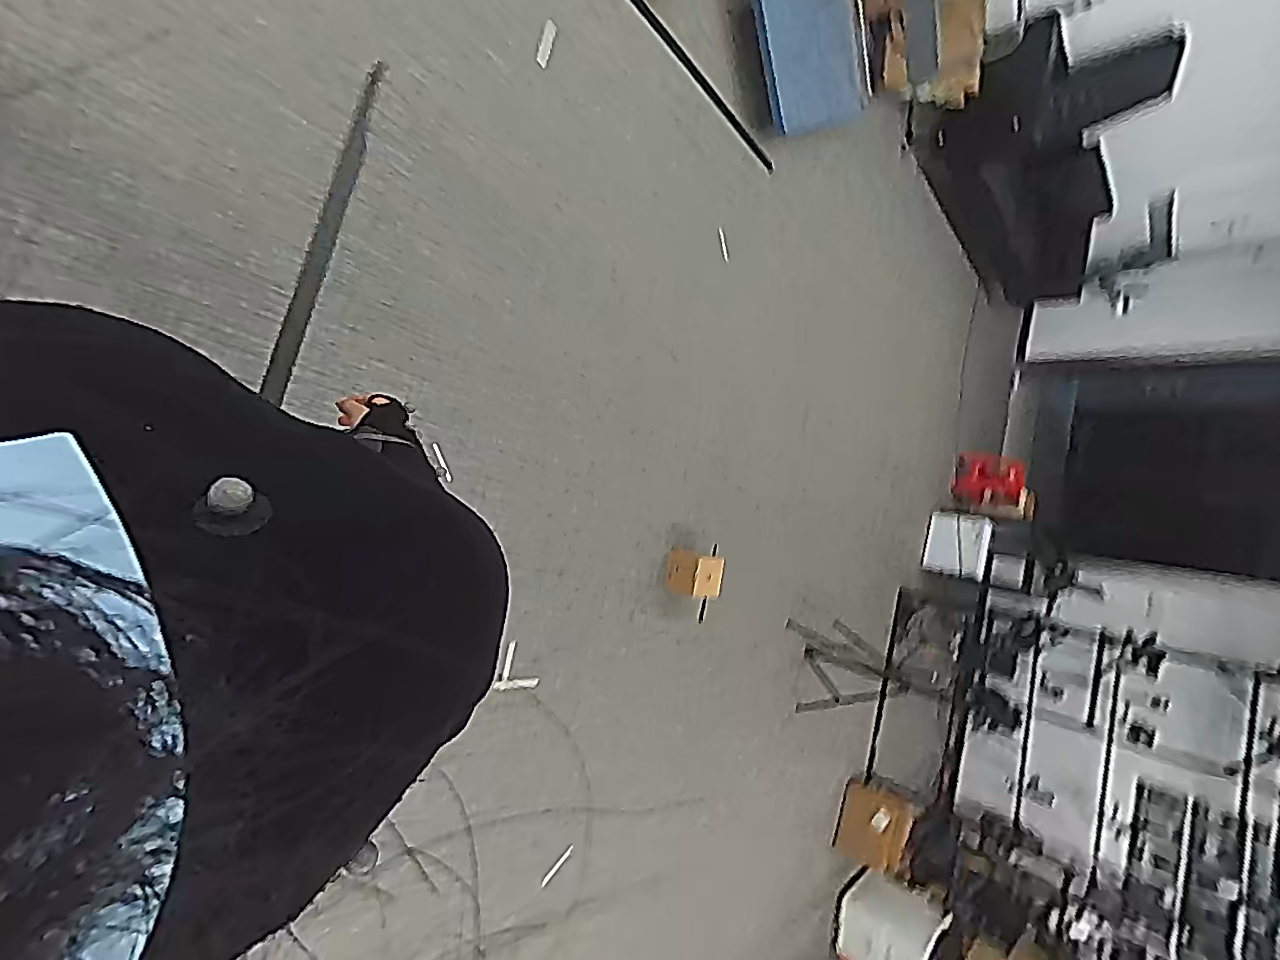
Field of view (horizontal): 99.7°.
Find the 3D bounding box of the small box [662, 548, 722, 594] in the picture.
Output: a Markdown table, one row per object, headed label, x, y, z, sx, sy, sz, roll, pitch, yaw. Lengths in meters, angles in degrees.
| label | x | y | z | sx | sy | sz | roll | pitch | yaw |
| --- | --- | --- | --- | --- | --- | --- | --- | --- | --- |
| small box | 0.221 | 0.388 | 2.308 | 0.179 | 0.176 | 0.168 | 11 | 87 | -44 |
